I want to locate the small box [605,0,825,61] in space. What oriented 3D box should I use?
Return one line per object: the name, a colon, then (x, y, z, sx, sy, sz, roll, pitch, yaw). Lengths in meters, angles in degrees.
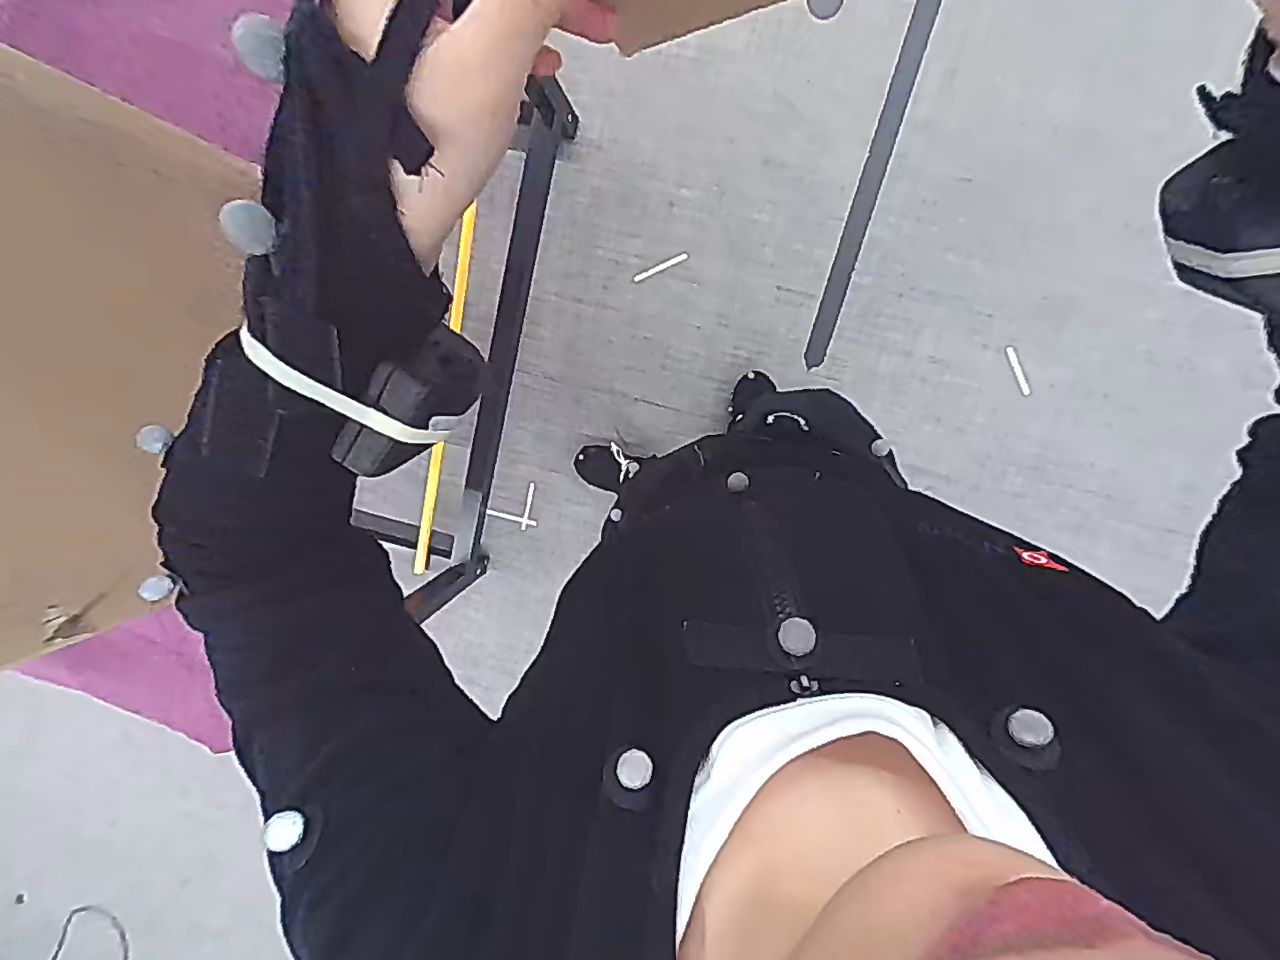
small box: (0.048, -0.269, 0.164, 0.179, 0.176, 0.168, -9, 116, 12)
